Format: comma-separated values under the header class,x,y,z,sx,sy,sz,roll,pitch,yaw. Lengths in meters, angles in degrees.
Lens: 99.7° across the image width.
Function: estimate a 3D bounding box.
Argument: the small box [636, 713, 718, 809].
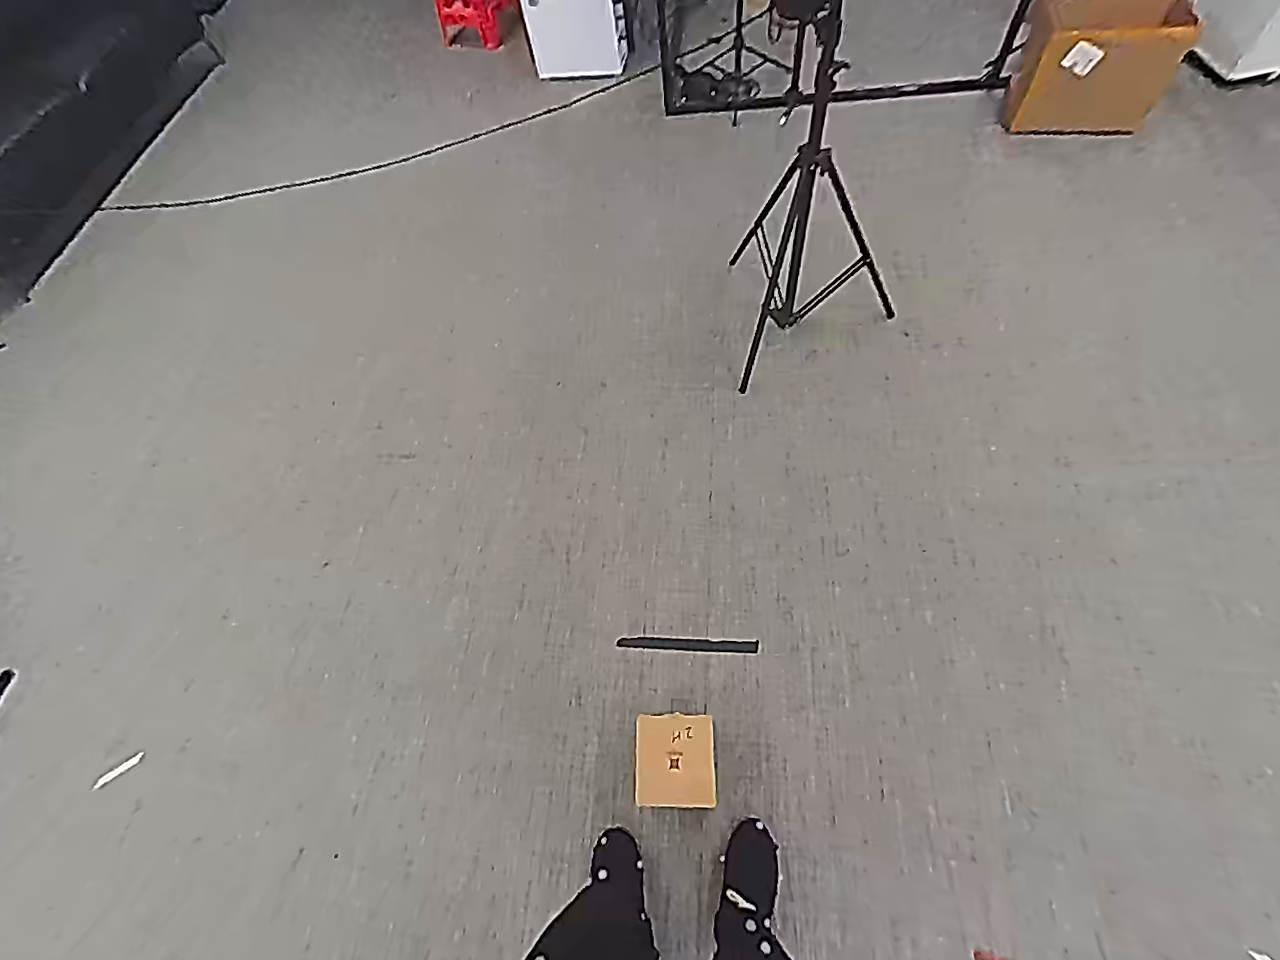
class,x,y,z,sx,sy,sz,roll,pitch,yaw
small box,0.086,0.618,1.194,0.168,0.176,0.179,-2,61,7
